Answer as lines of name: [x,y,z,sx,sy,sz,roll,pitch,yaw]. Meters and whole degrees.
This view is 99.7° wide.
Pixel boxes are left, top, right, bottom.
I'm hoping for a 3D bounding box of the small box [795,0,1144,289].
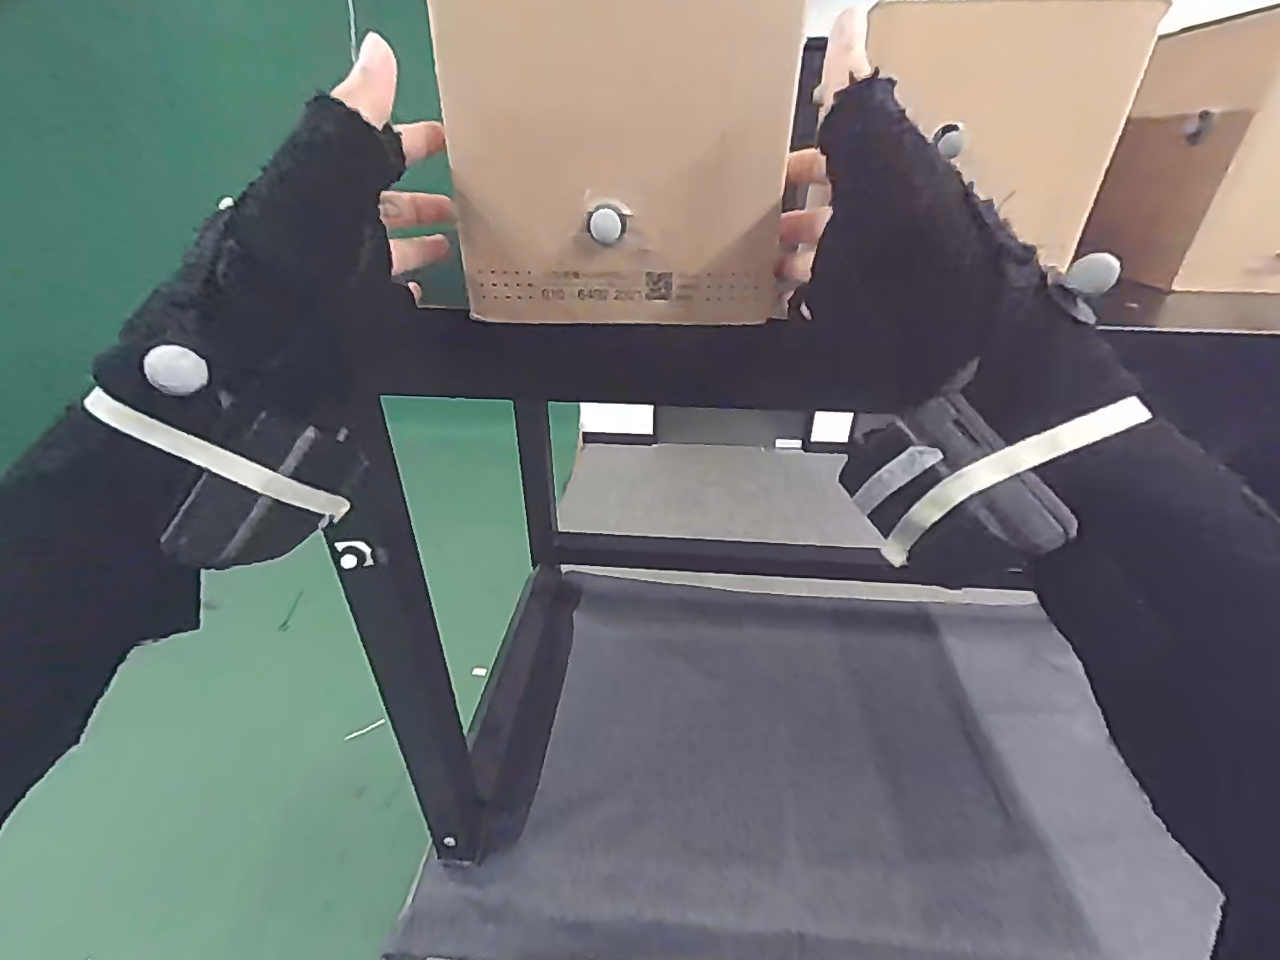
small box: [0.224,-0.252,0.430,0.168,0.176,0.179,3,29,6]
